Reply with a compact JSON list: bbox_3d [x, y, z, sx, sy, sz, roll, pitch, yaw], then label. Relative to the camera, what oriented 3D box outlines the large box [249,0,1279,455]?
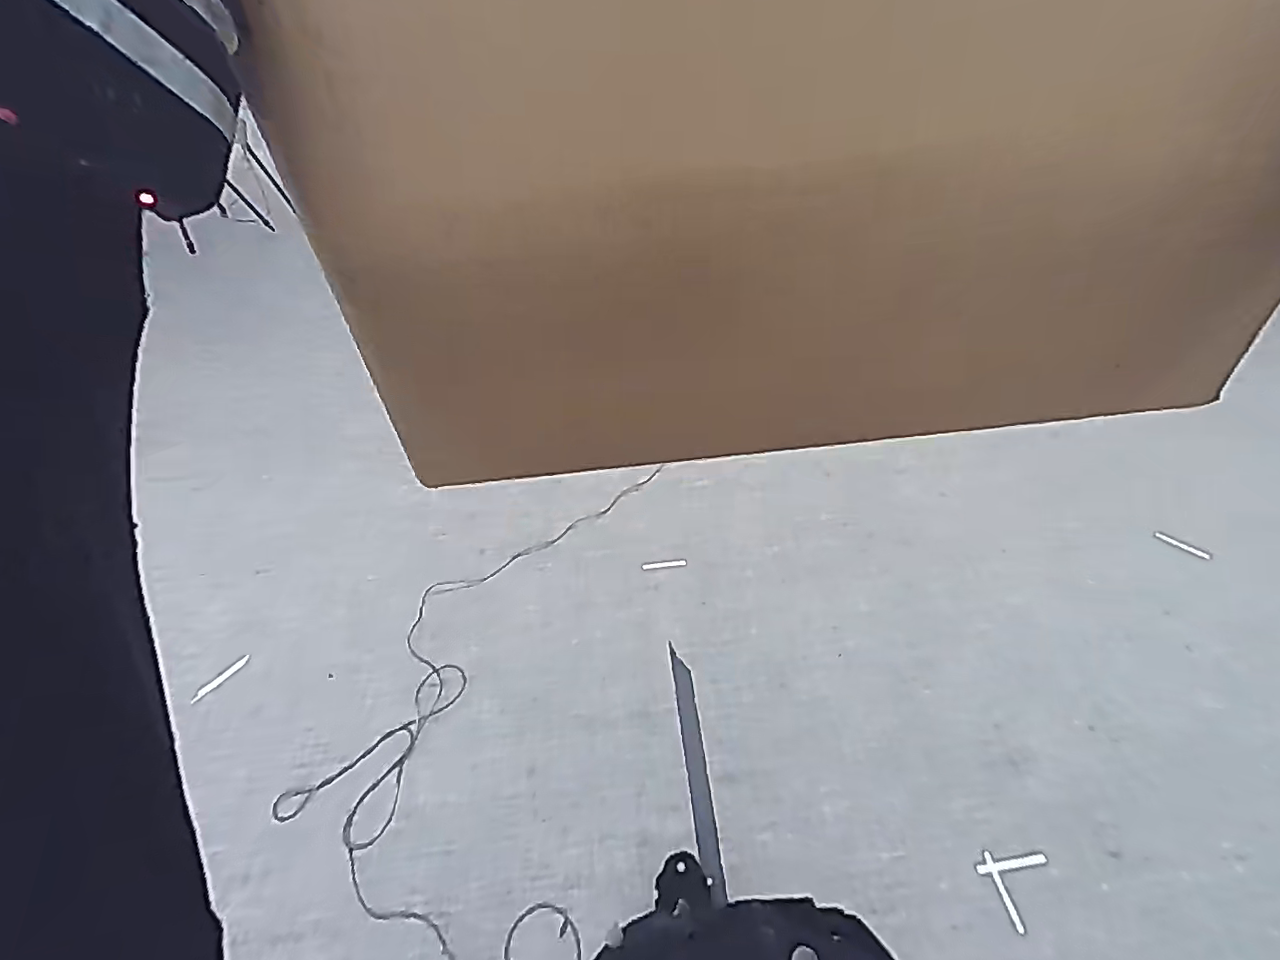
[{"bbox_3d":[0.062,-0.238,0.304,0.408,0.320,0.320,-6,39,-1],"label":"large box"}]
